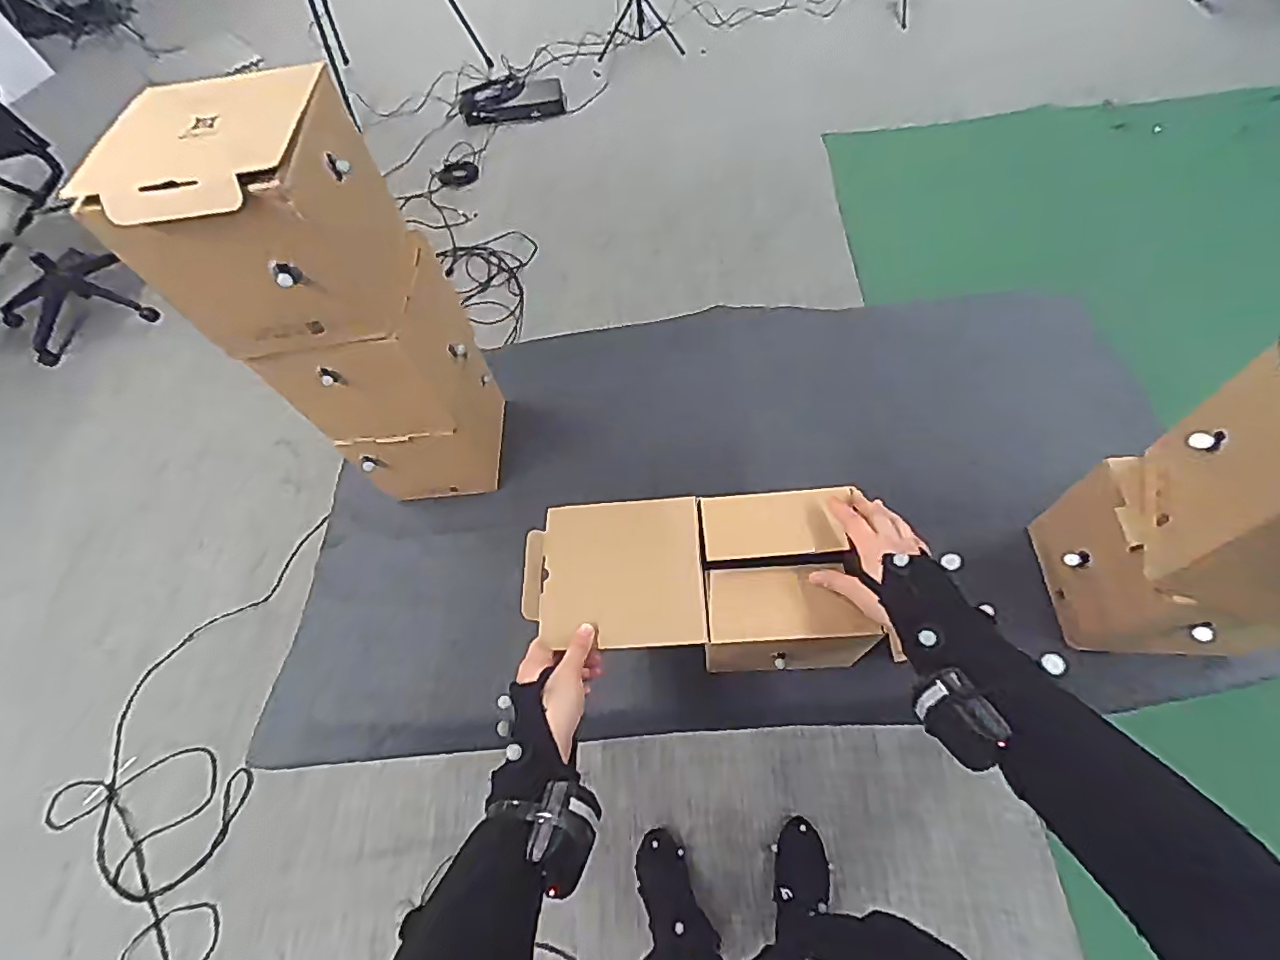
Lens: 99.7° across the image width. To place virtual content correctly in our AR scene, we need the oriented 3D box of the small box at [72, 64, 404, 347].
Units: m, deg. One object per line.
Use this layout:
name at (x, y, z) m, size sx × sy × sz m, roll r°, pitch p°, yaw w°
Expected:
small box at (-0.343, -0.242, 0.508) m, size 0.168 × 0.176 × 0.179 m, roll -8°, pitch 61°, yaw 1°

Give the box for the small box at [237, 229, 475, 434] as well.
small box at (-0.320, -0.168, 0.651) m, size 0.179 × 0.176 × 0.168 m, roll -4°, pitch 63°, yaw 4°

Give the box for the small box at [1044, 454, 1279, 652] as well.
small box at (0.587, 0.085, 0.594) m, size 0.179 × 0.176 × 0.168 m, roll 0°, pitch 59°, yaw 8°

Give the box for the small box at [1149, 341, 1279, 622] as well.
small box at (0.573, 0.015, 0.446) m, size 0.179 × 0.176 × 0.168 m, roll 20°, pitch 63°, yaw 17°
